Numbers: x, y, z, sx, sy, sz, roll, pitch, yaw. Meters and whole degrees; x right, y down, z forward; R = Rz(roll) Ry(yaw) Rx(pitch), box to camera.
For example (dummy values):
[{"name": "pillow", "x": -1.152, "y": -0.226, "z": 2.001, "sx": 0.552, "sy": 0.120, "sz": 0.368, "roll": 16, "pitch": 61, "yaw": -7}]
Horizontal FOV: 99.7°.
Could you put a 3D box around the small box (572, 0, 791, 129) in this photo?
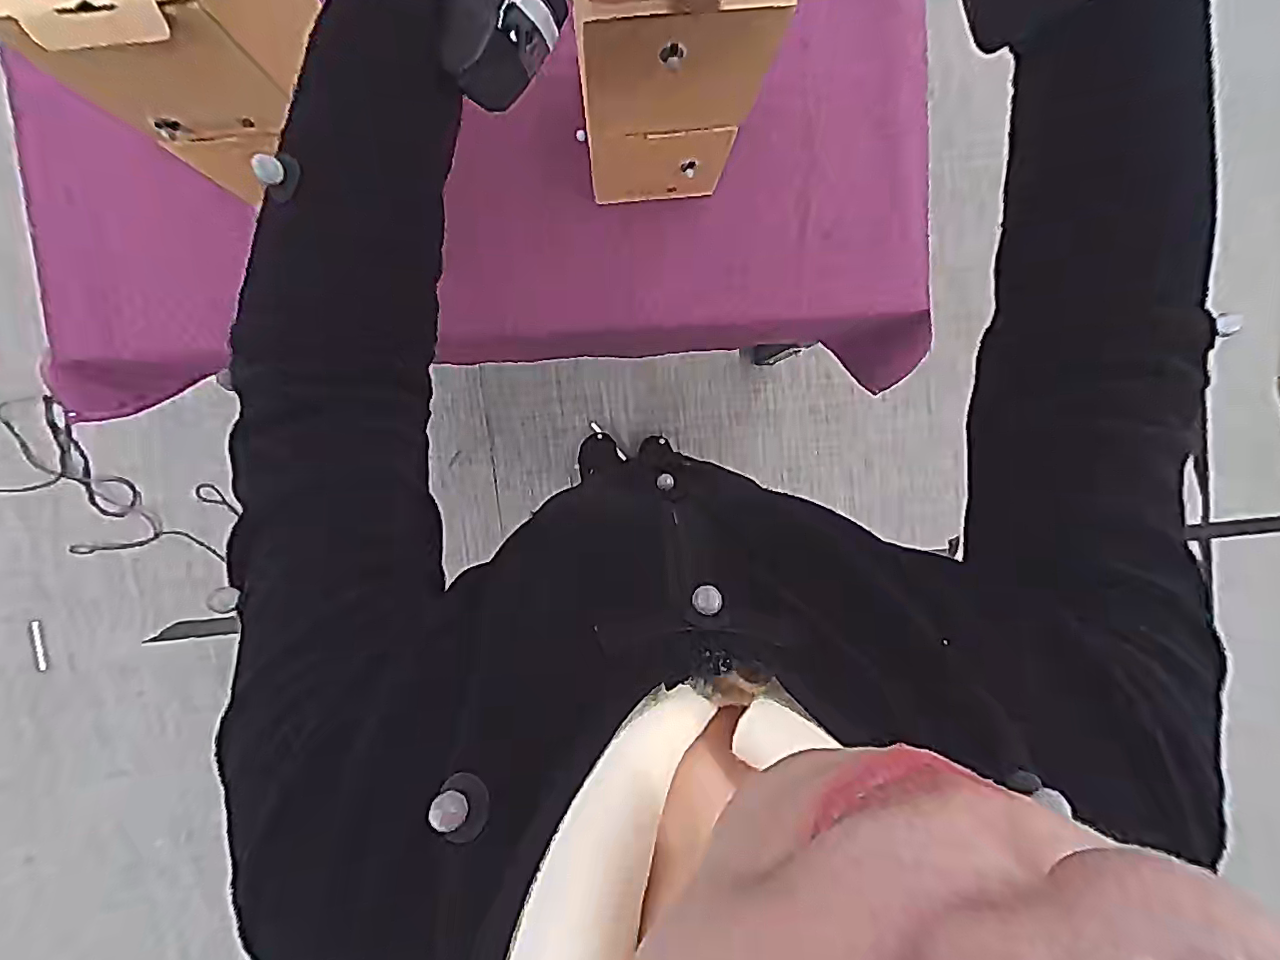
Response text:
[{"name": "small box", "x": 0.024, "y": -0.453, "z": 0.495, "sx": 0.179, "sy": 0.176, "sz": 0.168, "roll": -6, "pitch": 96, "yaw": -3}]

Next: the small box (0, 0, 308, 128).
[{"name": "small box", "x": -0.425, "y": -0.439, "z": 0.473, "sx": 0.168, "sy": 0.176, "sz": 0.179, "roll": -8, "pitch": 95, "yaw": -3}]

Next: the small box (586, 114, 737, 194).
[{"name": "small box", "x": 0.016, "y": -0.469, "z": 0.659, "sx": 0.168, "sy": 0.176, "sz": 0.179, "roll": -5, "pitch": 95, "yaw": -3}]

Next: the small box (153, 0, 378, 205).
[{"name": "small box", "x": -0.433, "y": -0.452, "z": 0.637, "sx": 0.168, "sy": 0.176, "sz": 0.179, "roll": -6, "pitch": 96, "yaw": -3}]
